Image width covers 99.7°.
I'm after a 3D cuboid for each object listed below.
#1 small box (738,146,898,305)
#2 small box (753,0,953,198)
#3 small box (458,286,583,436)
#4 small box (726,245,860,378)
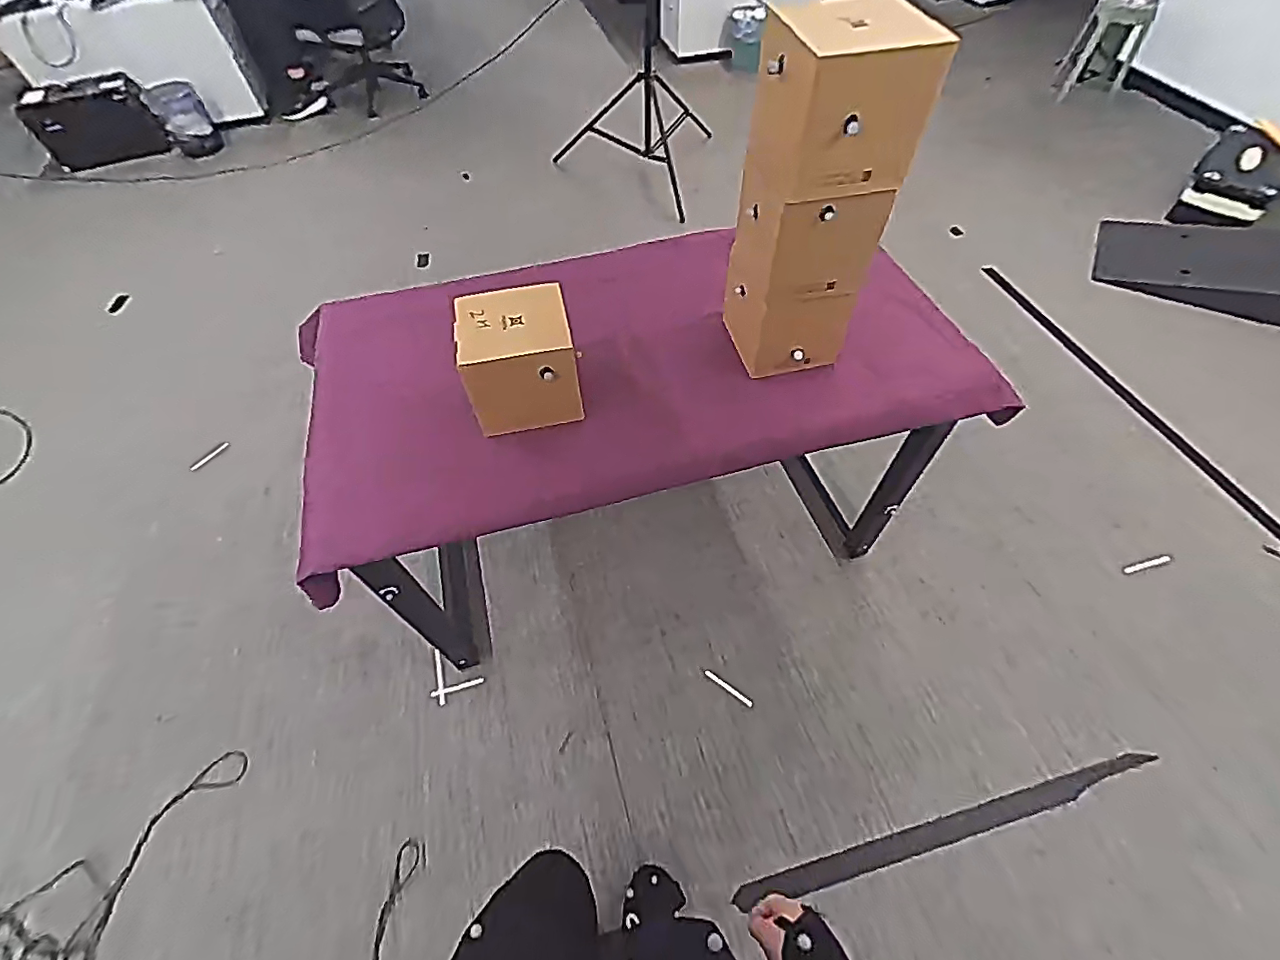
[{"bbox_3d":[0.259,-0.401,0.841,0.168,0.176,0.179,-10,55,-4],"label":"small box"},{"bbox_3d":[0.257,-0.488,0.703,0.168,0.176,0.179,-10,56,-4],"label":"small box"},{"bbox_3d":[-0.196,-0.197,0.915,0.179,0.176,0.168,-11,55,-6],"label":"small box"},{"bbox_3d":[0.262,-0.313,0.979,0.168,0.176,0.179,-12,57,-6],"label":"small box"}]
